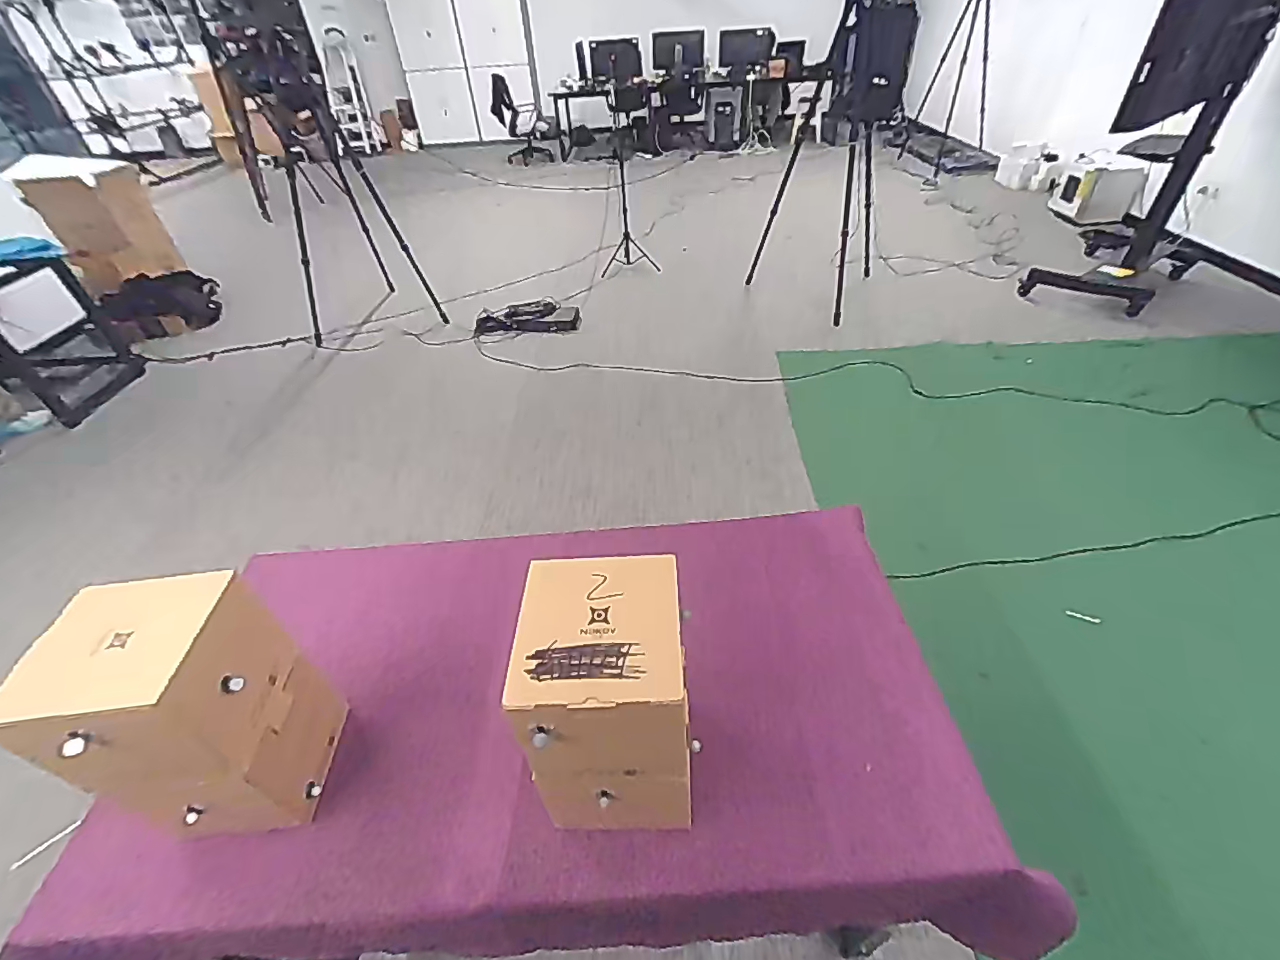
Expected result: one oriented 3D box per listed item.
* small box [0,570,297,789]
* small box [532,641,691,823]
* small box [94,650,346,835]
[{"bbox_3d":[-0.536,0.227,0.615,0.179,0.176,0.168,-7,41,-2],"label":"small box"},{"bbox_3d":[-0.025,0.326,0.699,0.179,0.176,0.168,-2,42,4],"label":"small box"},{"bbox_3d":[-0.531,0.349,0.722,0.179,0.176,0.168,-7,41,-1],"label":"small box"}]
